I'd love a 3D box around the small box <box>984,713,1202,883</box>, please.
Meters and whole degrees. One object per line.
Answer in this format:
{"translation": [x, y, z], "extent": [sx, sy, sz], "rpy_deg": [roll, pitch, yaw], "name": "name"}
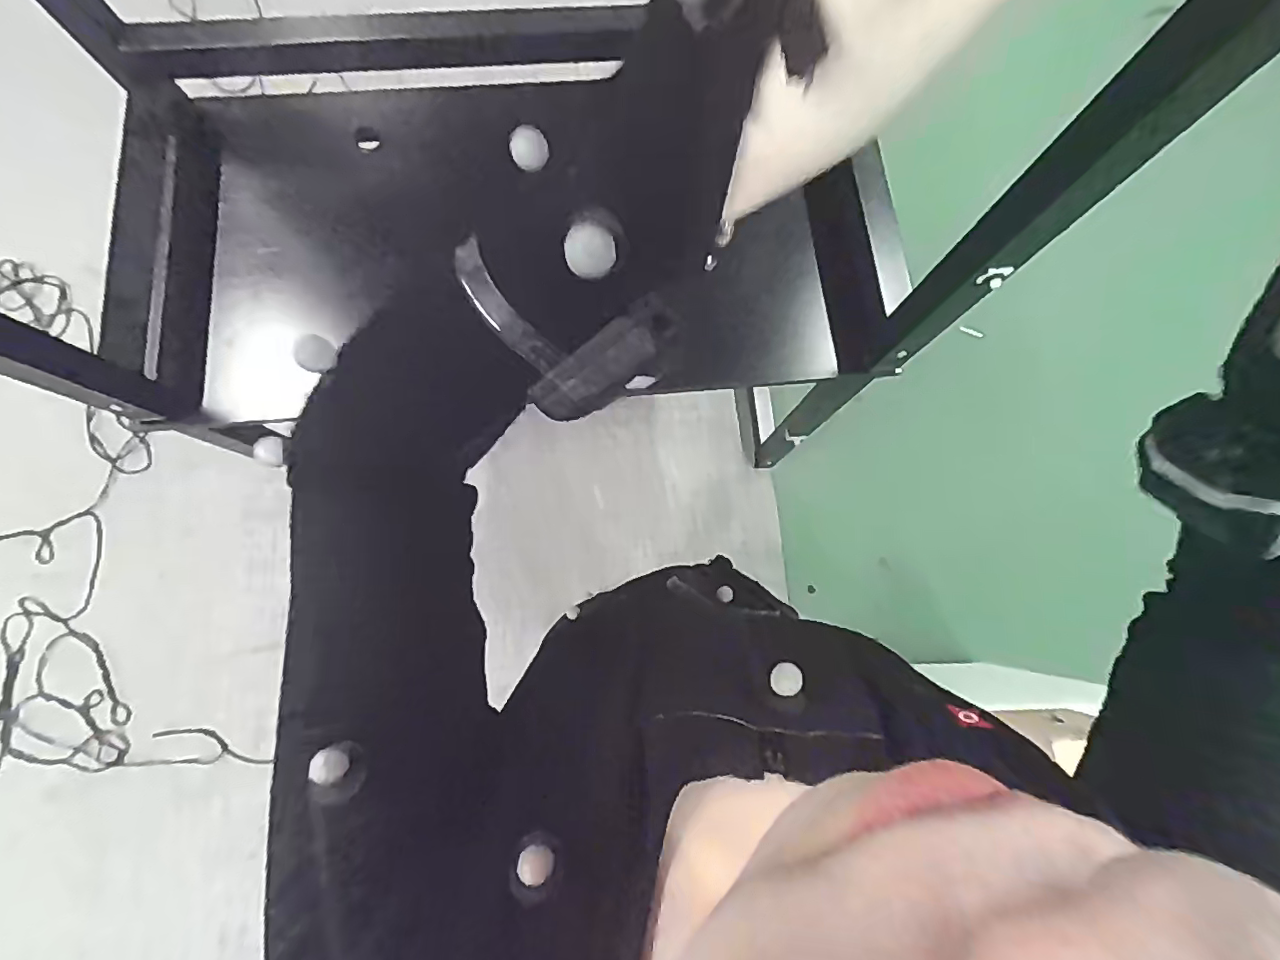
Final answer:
{"translation": [0.639, 0.446, 0.790], "extent": [0.168, 0.176, 0.179], "rpy_deg": [-1, 79, -1], "name": "small box"}
